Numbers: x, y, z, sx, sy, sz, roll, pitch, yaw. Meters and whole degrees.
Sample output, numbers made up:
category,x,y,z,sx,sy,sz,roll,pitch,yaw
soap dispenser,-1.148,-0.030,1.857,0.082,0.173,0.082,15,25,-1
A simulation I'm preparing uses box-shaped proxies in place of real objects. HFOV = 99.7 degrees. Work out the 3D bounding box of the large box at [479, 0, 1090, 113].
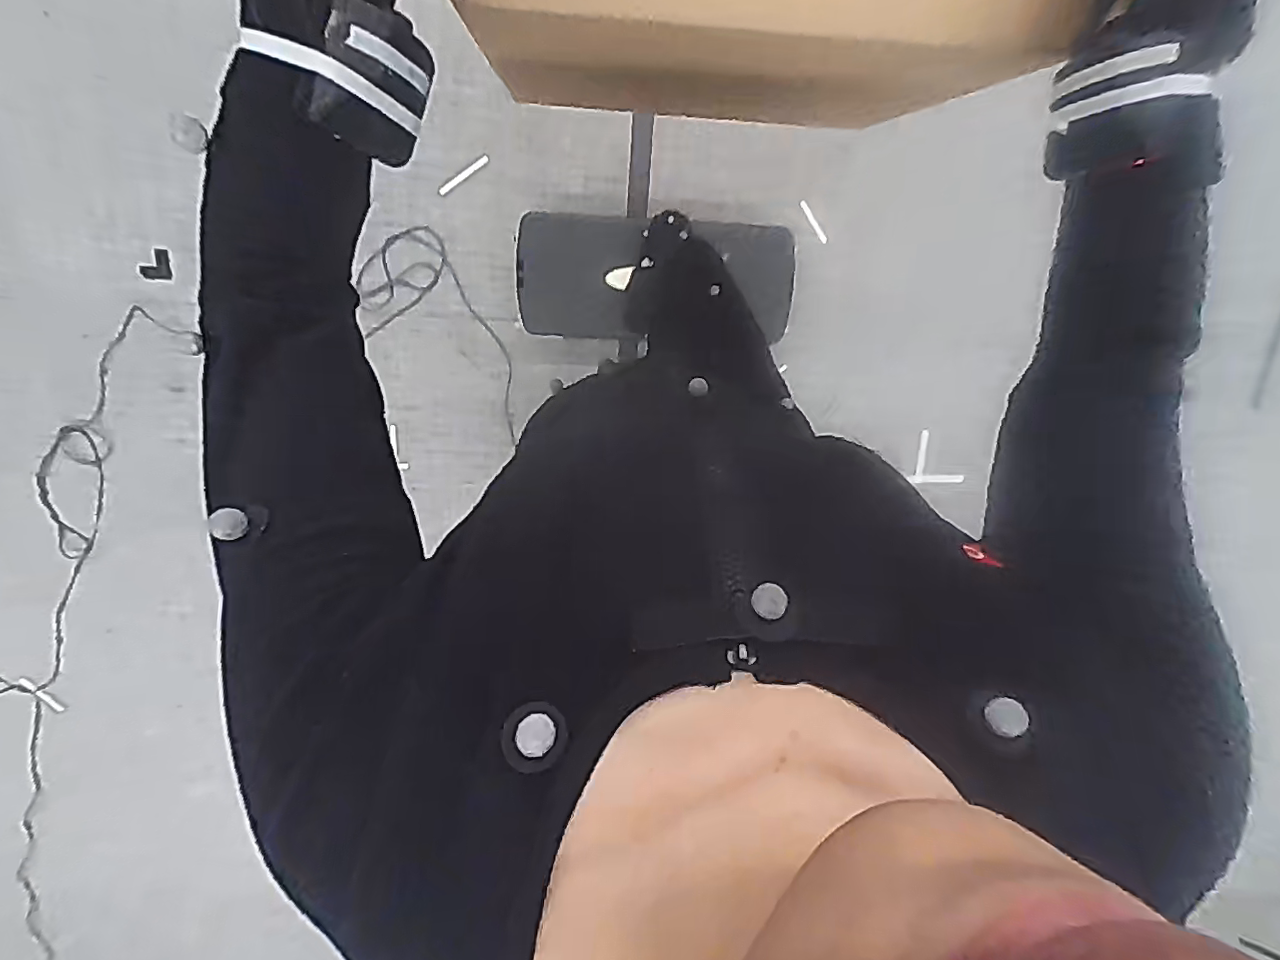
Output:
category,x,y,z,sx,sy,sz,roll,pitch,yaw
large box,0.081,-0.492,0.405,0.408,0.320,0.320,-1,116,-7
